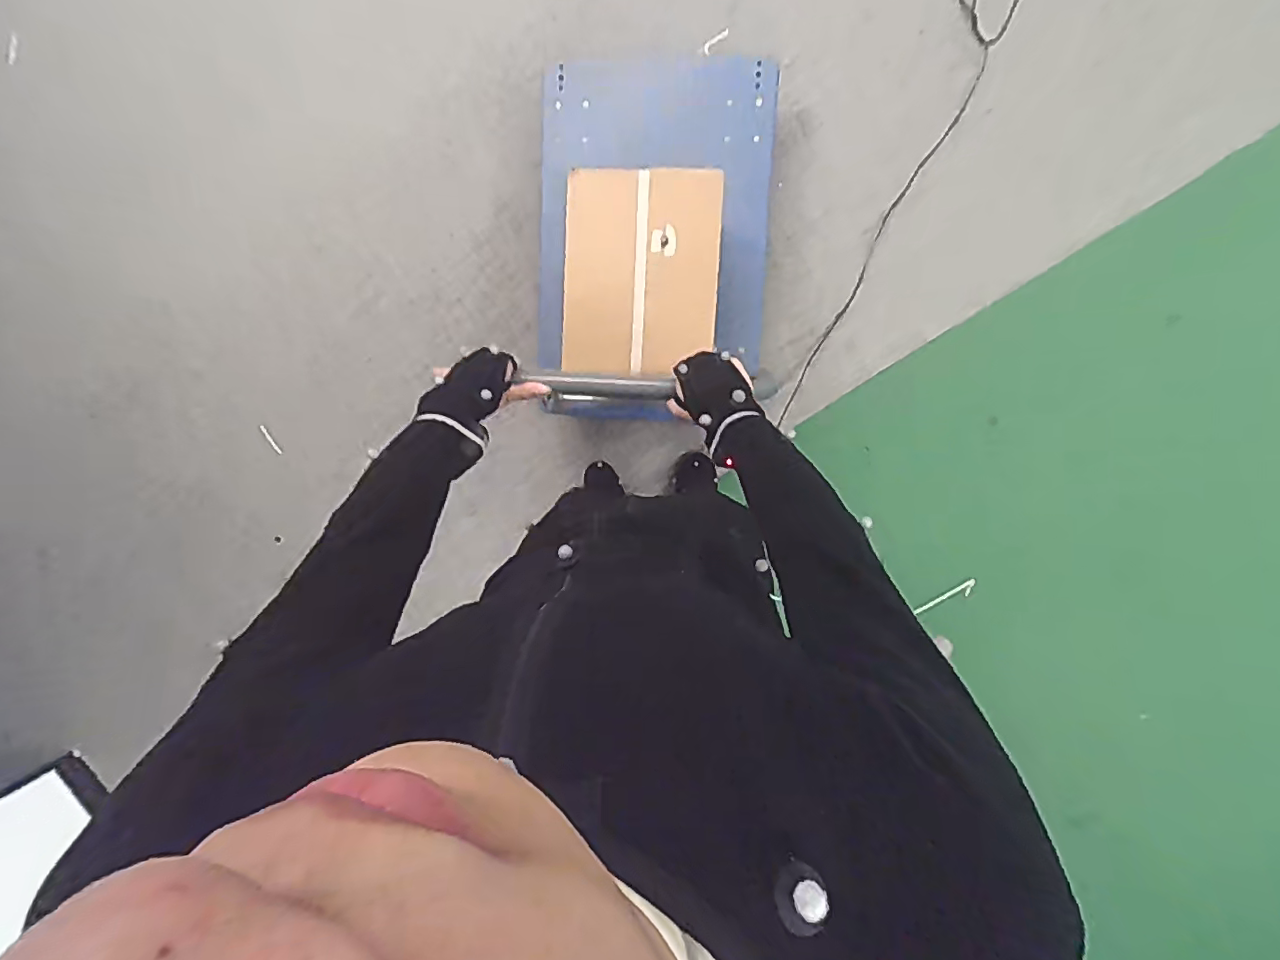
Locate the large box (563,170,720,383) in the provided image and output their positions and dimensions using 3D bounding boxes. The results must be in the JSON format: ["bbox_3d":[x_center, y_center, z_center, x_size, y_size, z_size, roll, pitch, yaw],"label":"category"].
[{"bbox_3d":[0.016,-0.439,1.253,0.320,0.320,0.408,4,97,6],"label":"large box"}]
